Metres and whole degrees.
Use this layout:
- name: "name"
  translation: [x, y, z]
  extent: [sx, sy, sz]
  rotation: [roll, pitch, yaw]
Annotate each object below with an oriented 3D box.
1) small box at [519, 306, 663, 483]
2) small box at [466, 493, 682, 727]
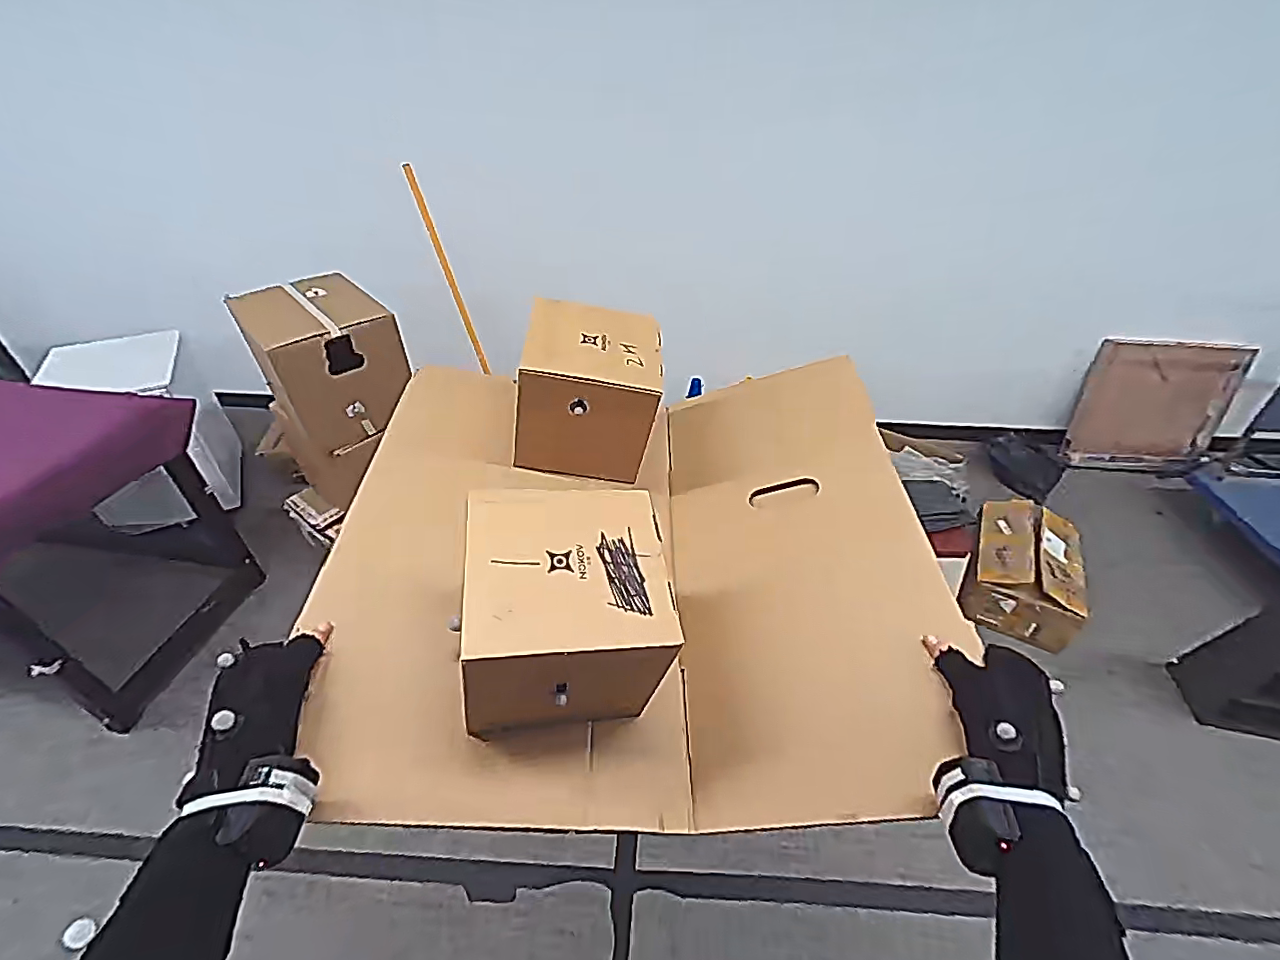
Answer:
- name: "small box"
  translation: [-0.071, -0.115, 0.762]
  extent: [0.179, 0.176, 0.168]
  rotation: [9, 47, -9]
- name: "small box"
  translation: [-0.075, 0.130, 0.537]
  extent: [0.179, 0.176, 0.168]
  rotation: [1, 49, -15]
